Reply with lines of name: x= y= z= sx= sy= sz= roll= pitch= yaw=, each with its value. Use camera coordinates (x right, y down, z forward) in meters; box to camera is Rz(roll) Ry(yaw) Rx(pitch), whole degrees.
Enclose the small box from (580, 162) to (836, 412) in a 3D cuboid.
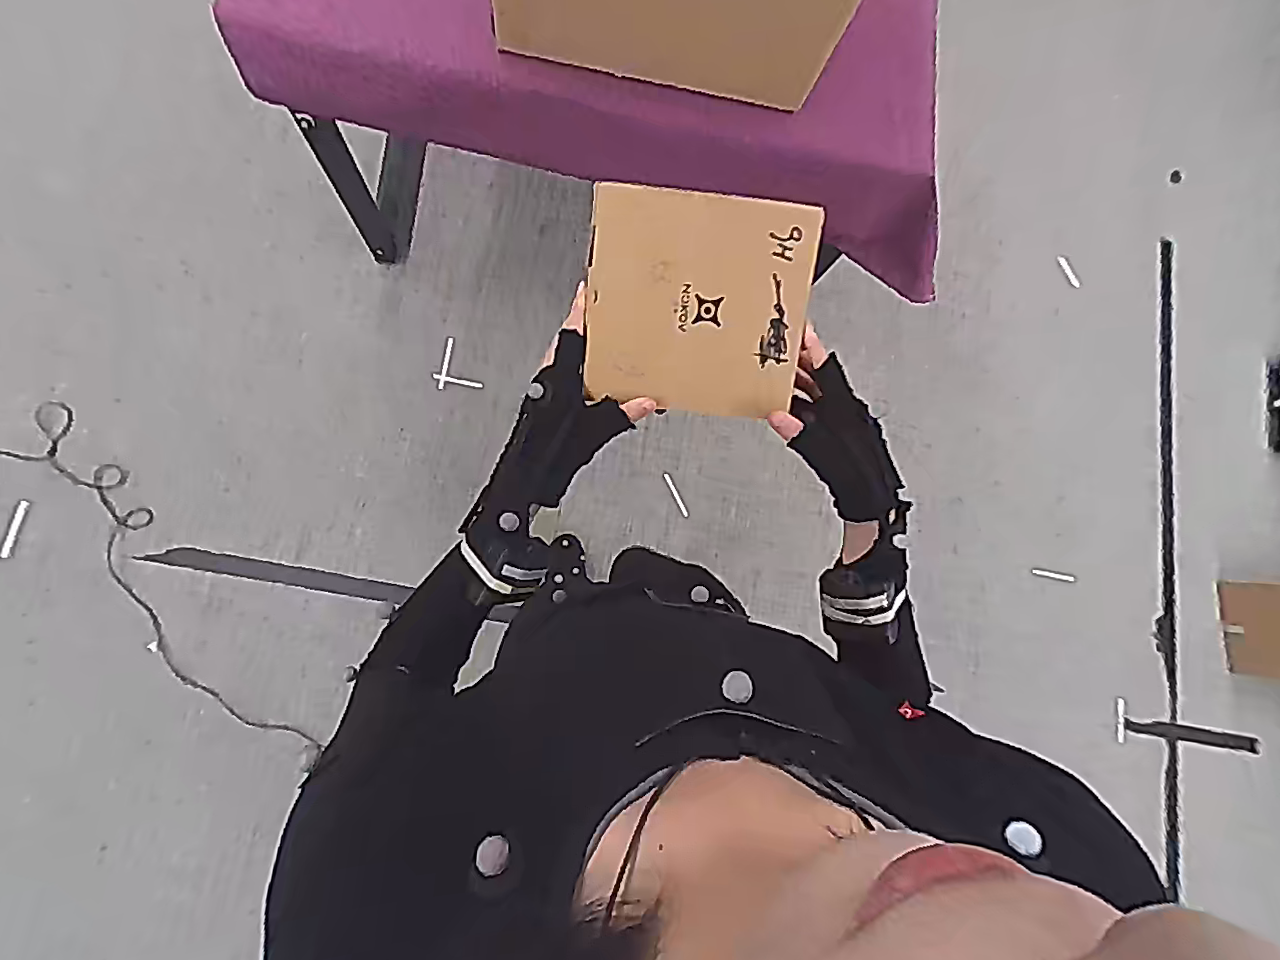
small box: x=0.048 y=-0.163 z=0.491 sx=0.179 sy=0.176 sz=0.168 roll=7 pitch=105 yaw=-2
